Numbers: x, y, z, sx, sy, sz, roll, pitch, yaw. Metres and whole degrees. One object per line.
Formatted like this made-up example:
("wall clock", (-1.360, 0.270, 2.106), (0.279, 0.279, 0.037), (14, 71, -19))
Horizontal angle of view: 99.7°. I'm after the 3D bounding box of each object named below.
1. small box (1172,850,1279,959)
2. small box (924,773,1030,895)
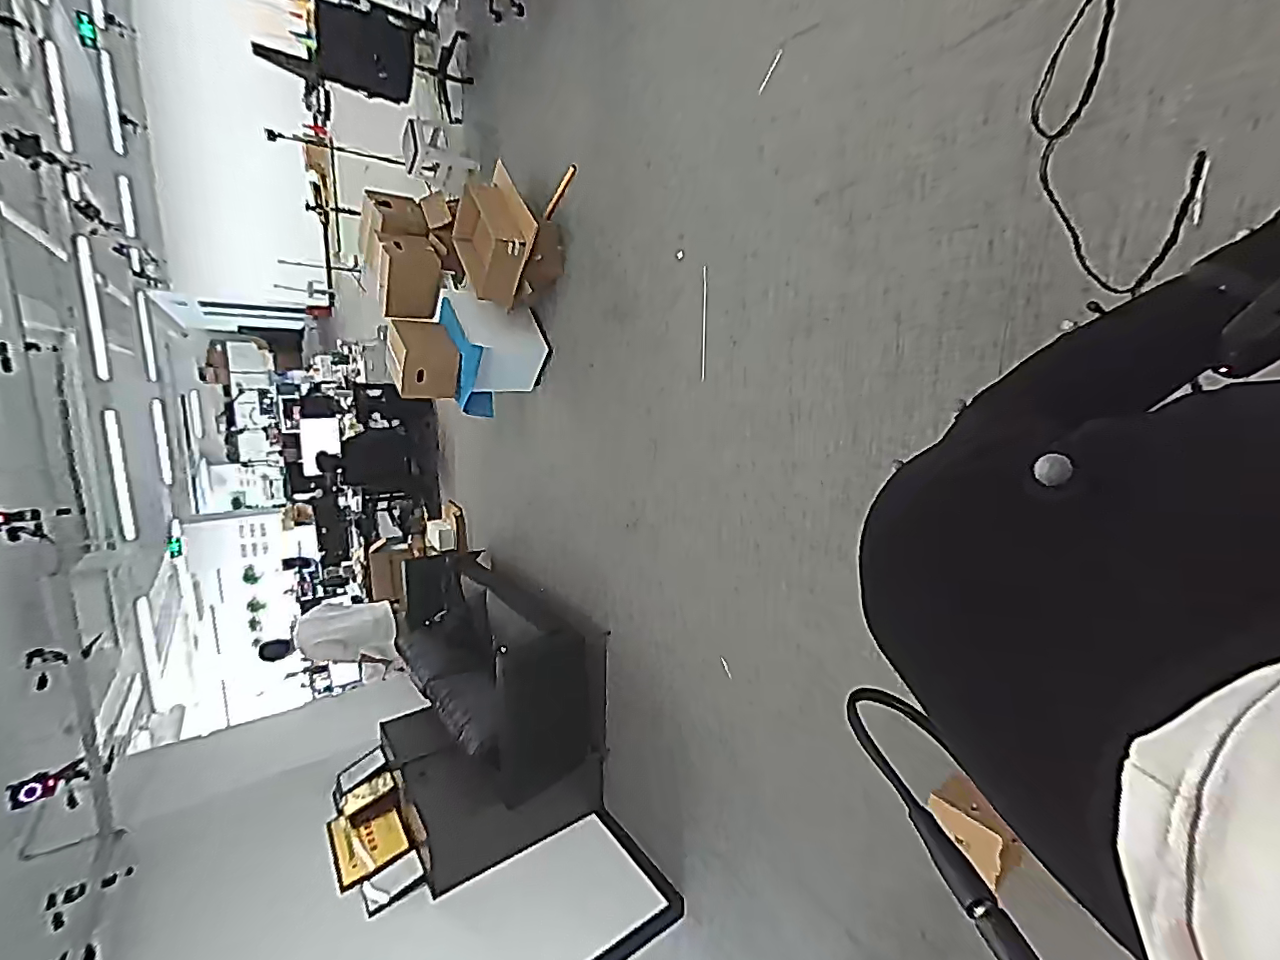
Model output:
("small box", (1.264, 0.928, 1.129), (0.179, 0.176, 0.168), (13, 106, 54))
("small box", (0.867, 0.896, 1.390), (0.179, 0.176, 0.168), (17, 108, 53))
